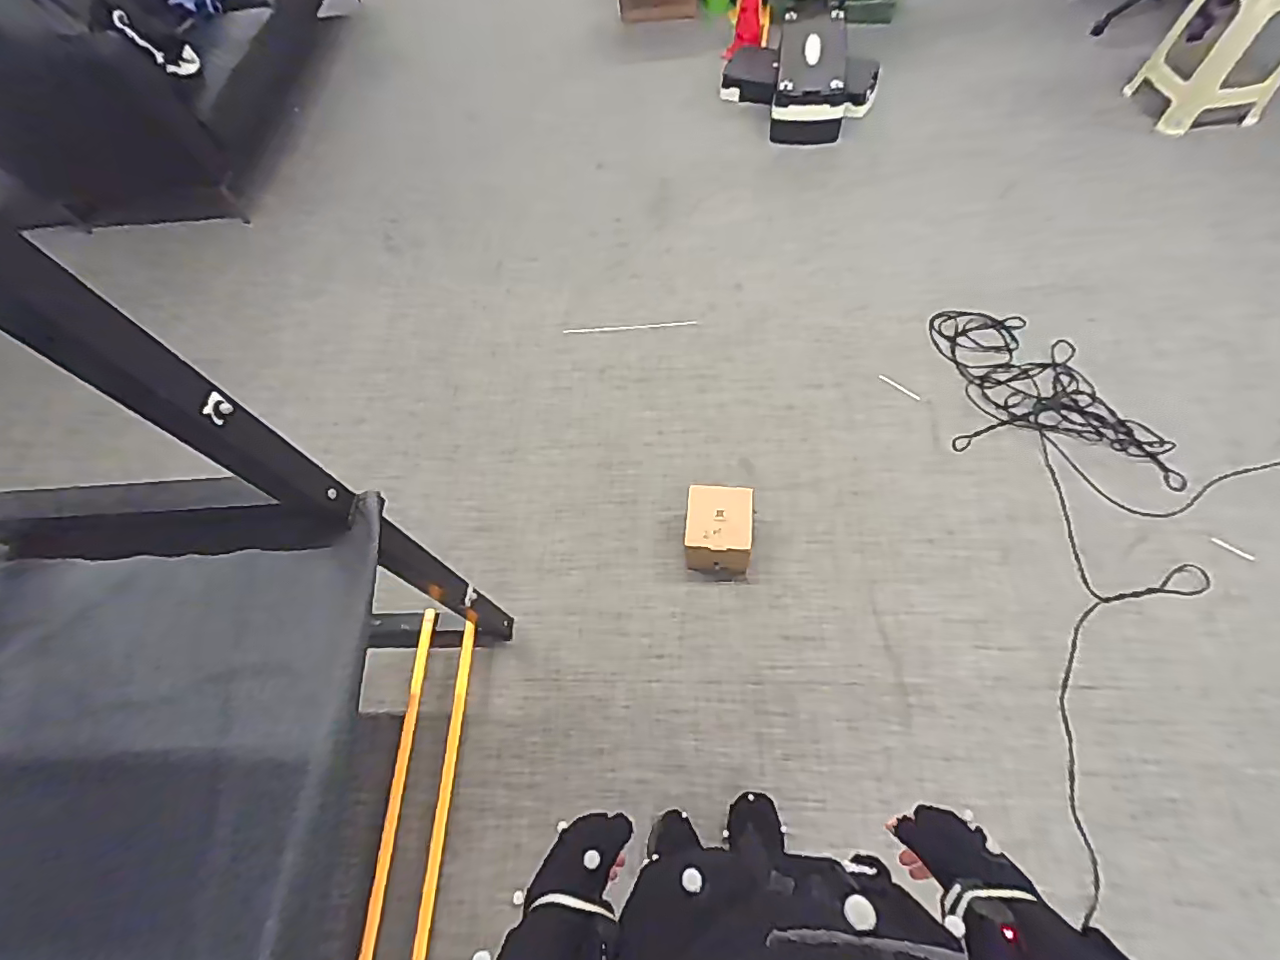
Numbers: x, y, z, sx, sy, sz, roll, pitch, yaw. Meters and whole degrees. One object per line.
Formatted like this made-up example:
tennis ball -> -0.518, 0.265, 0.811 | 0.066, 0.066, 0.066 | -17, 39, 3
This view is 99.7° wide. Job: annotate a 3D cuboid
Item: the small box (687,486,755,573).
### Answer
small box -> 0.215, 0.135, 1.447 | 0.168, 0.176, 0.179 | 3, 63, 9
